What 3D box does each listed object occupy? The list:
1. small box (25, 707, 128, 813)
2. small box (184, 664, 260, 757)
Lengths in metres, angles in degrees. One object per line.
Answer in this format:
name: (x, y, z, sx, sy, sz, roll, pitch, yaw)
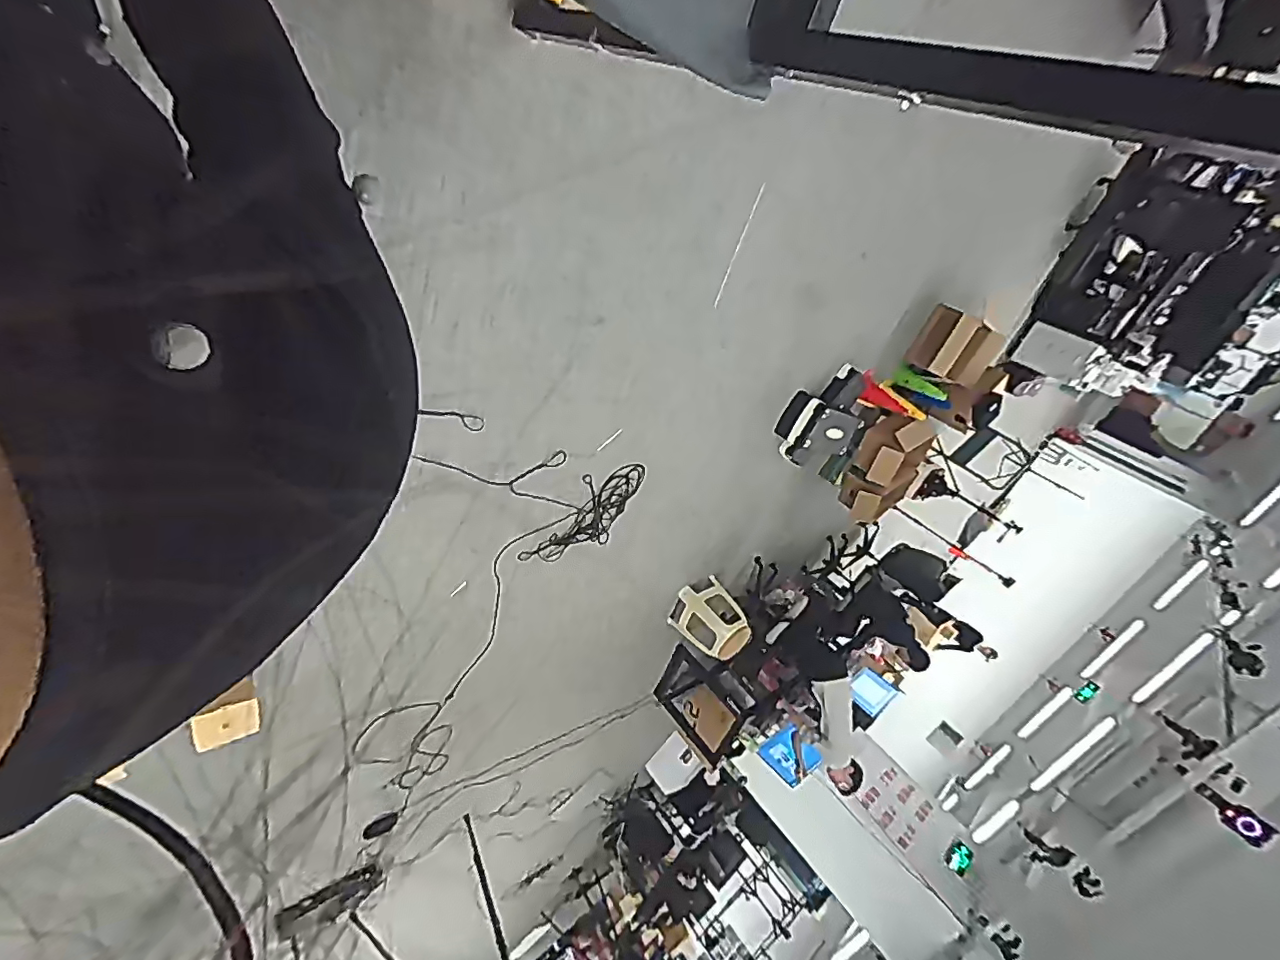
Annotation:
small box: (-1.545, 0.756, 1.486, 0.168, 0.176, 0.179, -14, 133, -39)
small box: (-1.314, 0.719, 1.701, 0.168, 0.176, 0.179, -11, 130, -42)
